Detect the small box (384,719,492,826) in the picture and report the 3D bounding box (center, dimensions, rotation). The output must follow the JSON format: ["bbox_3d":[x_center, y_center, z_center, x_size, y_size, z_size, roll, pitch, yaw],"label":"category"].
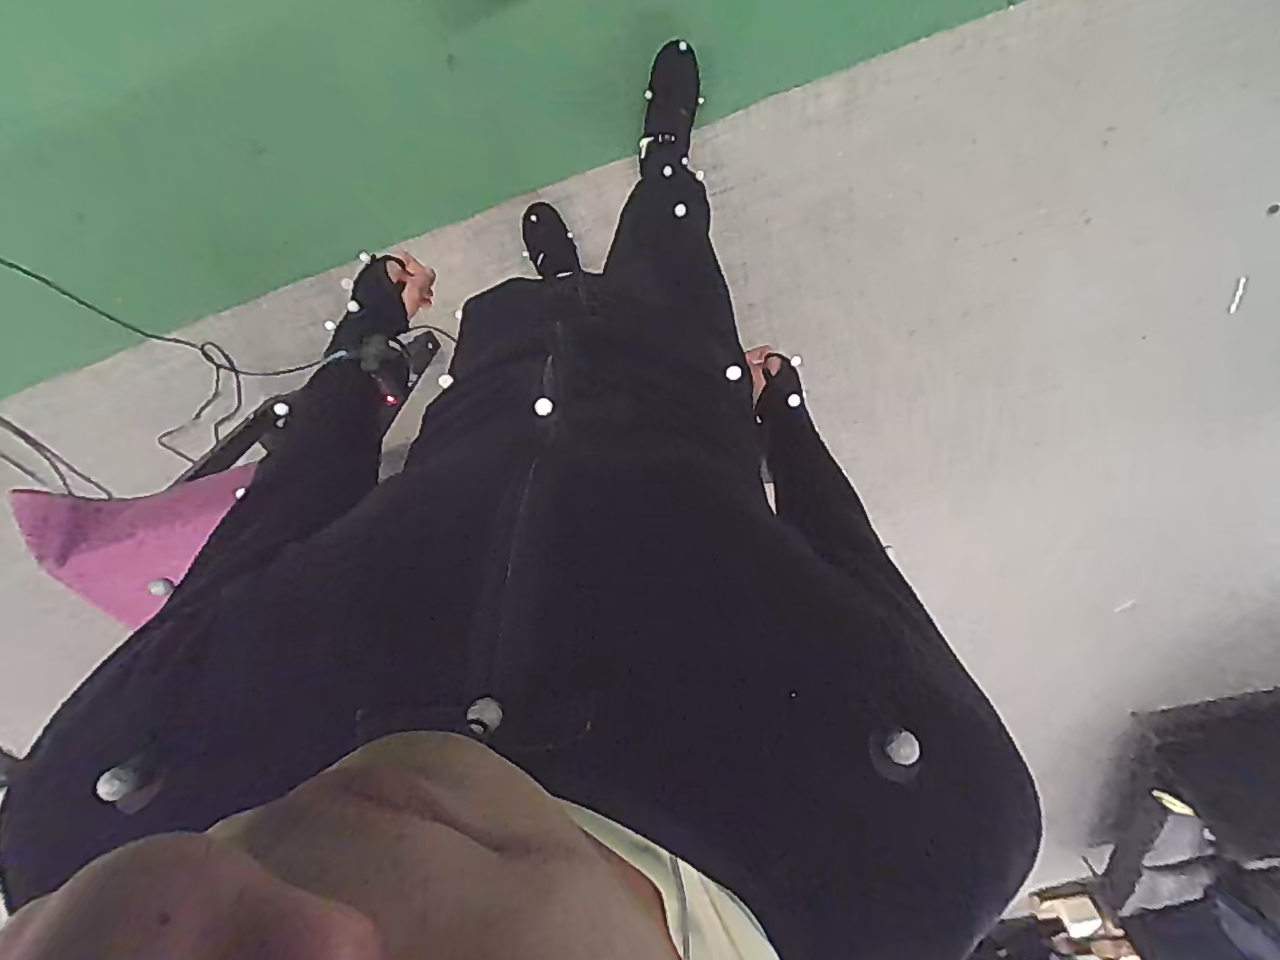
[{"bbox_3d":[-0.498,0.736,1.364,0.179,0.176,0.168,-18,125,10],"label":"small box"}]

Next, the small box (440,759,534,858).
[{"bbox_3d":[-0.411,0.904,1.491,0.179,0.176,0.168,-22,124,12],"label":"small box"}]
